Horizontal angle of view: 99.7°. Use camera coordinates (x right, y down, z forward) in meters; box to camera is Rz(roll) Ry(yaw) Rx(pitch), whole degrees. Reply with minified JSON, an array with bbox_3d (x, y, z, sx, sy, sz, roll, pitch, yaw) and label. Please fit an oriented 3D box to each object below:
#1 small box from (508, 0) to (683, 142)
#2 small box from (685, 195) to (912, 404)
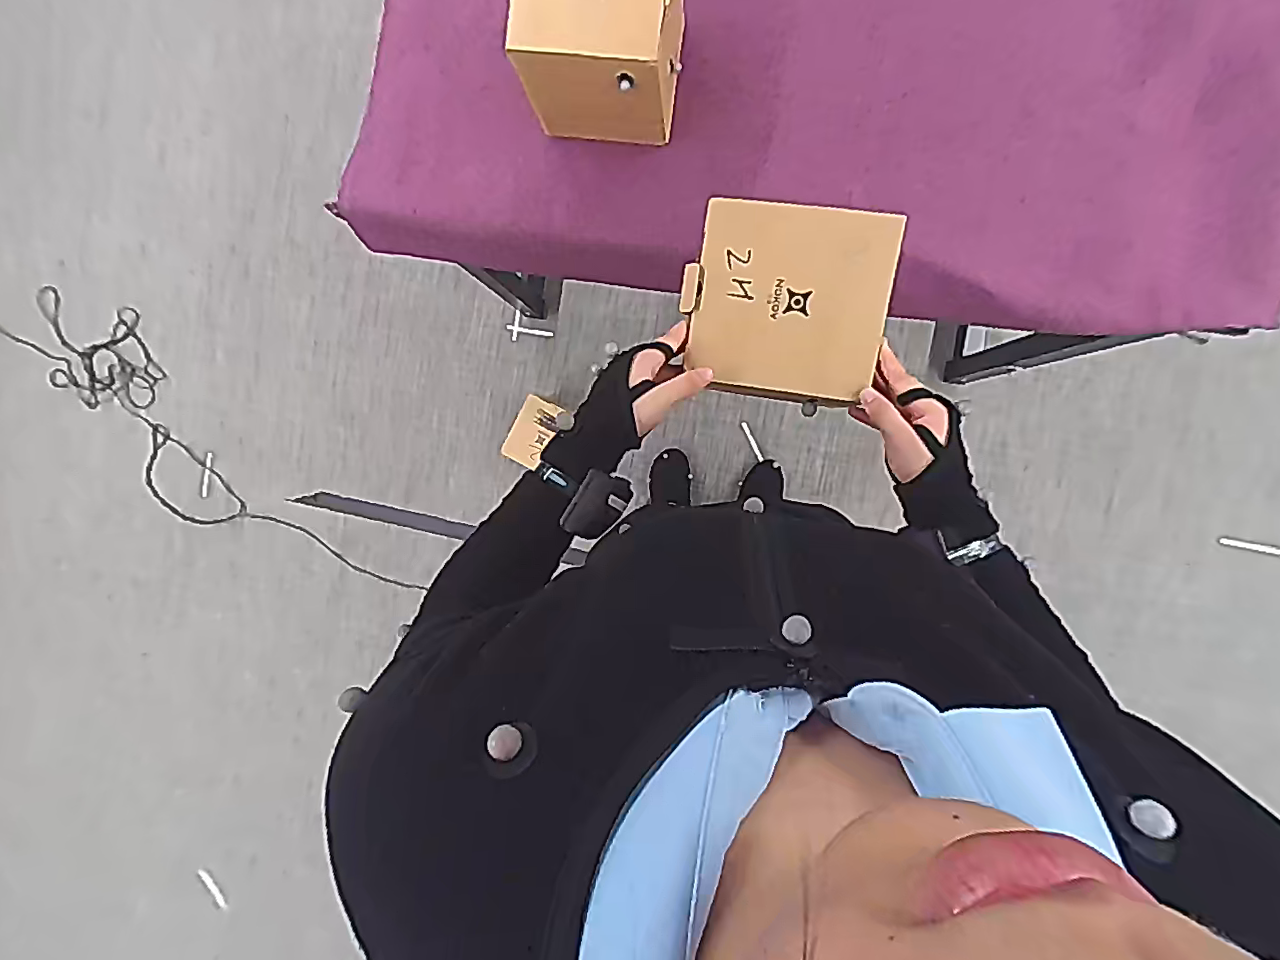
[{"bbox_3d":[-0.044,-0.549,0.667,0.179,0.176,0.168,8,94,4],"label":"small box"},{"bbox_3d":[0.153,-0.173,0.567,0.179,0.176,0.168,10,98,9],"label":"small box"}]
